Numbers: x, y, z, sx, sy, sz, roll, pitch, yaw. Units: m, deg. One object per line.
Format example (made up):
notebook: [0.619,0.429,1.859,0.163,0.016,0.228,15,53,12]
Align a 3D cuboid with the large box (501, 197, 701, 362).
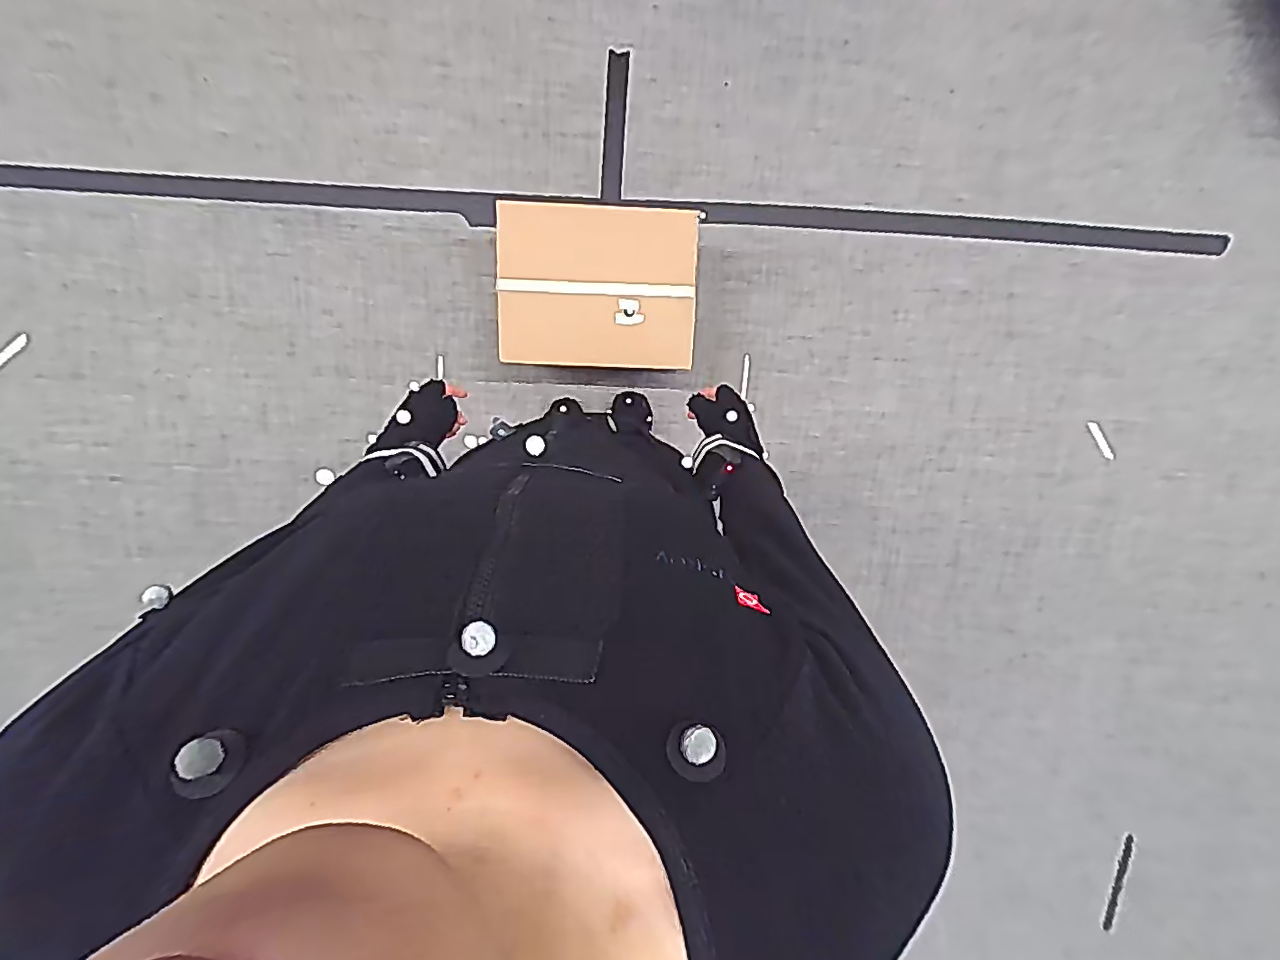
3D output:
large box: [-0.088,-0.432,1.243,0.408,0.320,0.320,1,103,-3]
